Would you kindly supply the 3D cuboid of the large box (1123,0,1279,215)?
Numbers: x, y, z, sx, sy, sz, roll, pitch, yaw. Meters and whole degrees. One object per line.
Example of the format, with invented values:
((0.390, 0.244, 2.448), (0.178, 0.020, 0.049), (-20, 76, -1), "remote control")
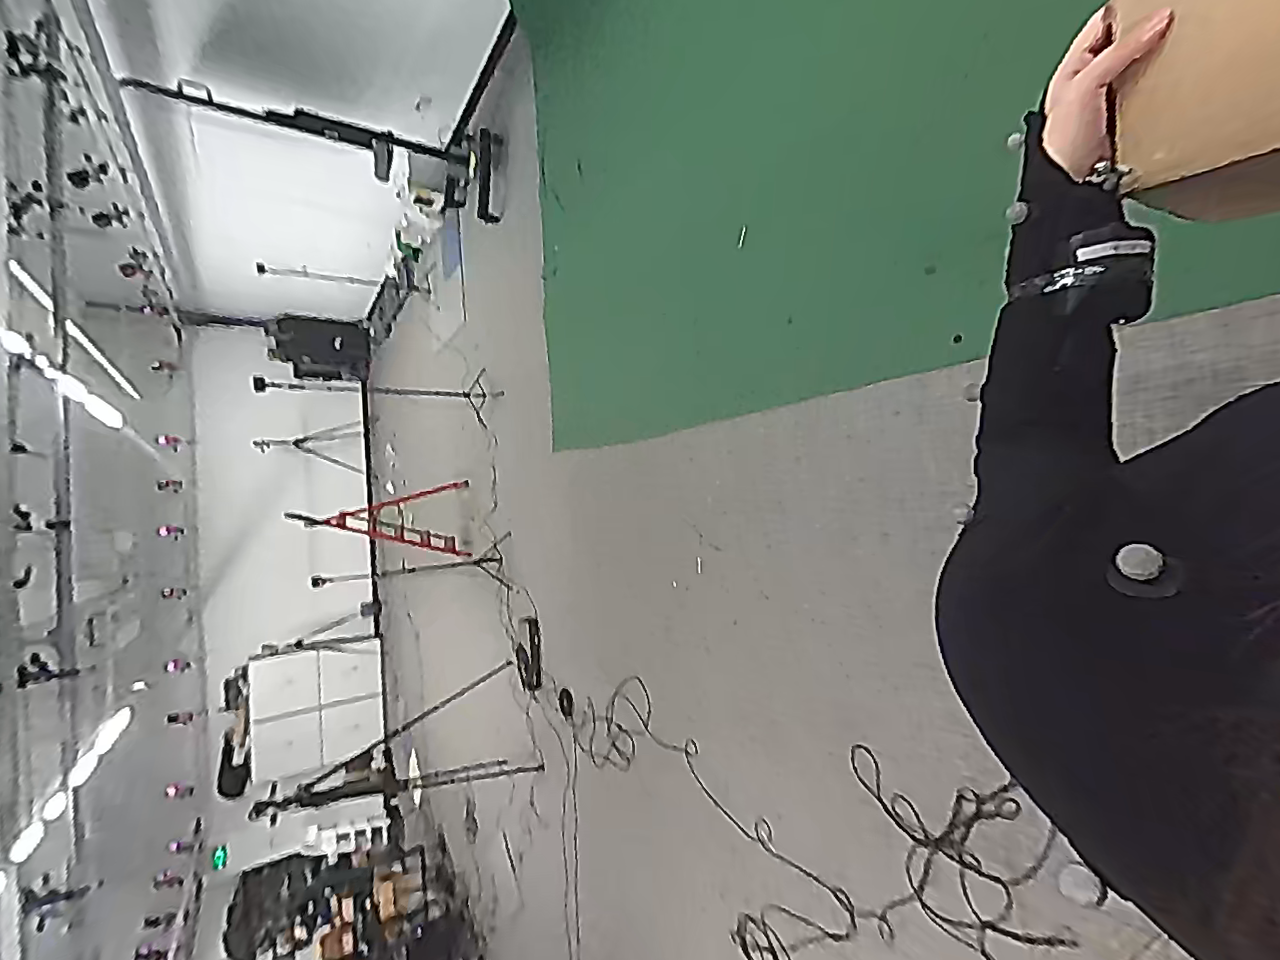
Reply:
((0.584, -0.389, 0.307), (0.408, 0.320, 0.320), (3, 103, 57), "large box")
